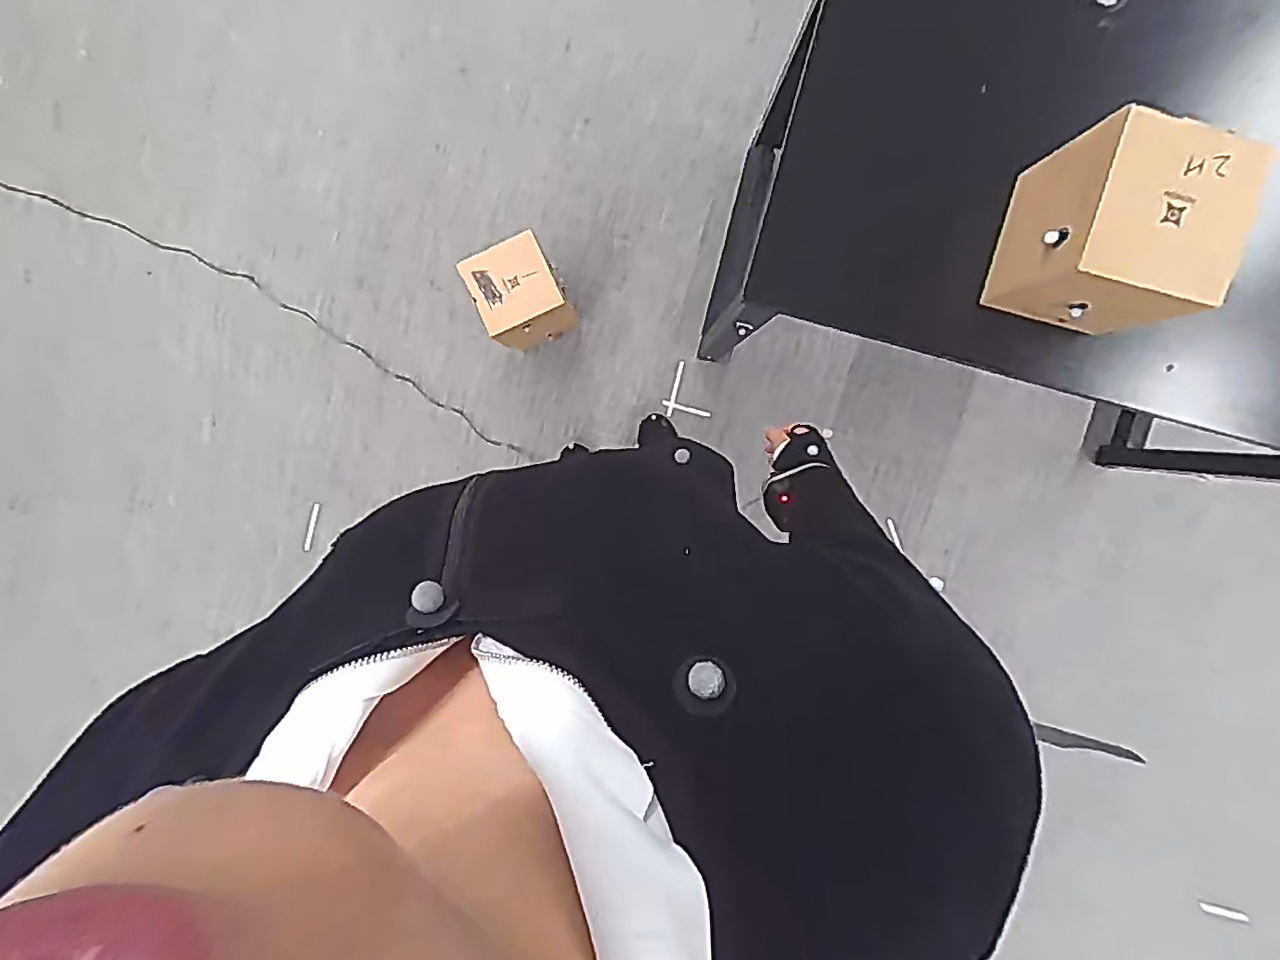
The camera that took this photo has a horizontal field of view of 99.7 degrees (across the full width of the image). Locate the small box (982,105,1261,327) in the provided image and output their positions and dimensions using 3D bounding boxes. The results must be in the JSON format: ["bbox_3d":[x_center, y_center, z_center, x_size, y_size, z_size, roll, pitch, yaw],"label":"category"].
[{"bbox_3d":[0.561,-0.301,0.660,0.168,0.176,0.179,14,95,-2],"label":"small box"}]

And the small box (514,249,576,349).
[{"bbox_3d":[-0.271,-0.452,1.372,0.179,0.176,0.168,-26,95,1],"label":"small box"}]

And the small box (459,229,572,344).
[{"bbox_3d":[-0.268,-0.421,1.208,0.179,0.176,0.168,-24,96,2],"label":"small box"}]
